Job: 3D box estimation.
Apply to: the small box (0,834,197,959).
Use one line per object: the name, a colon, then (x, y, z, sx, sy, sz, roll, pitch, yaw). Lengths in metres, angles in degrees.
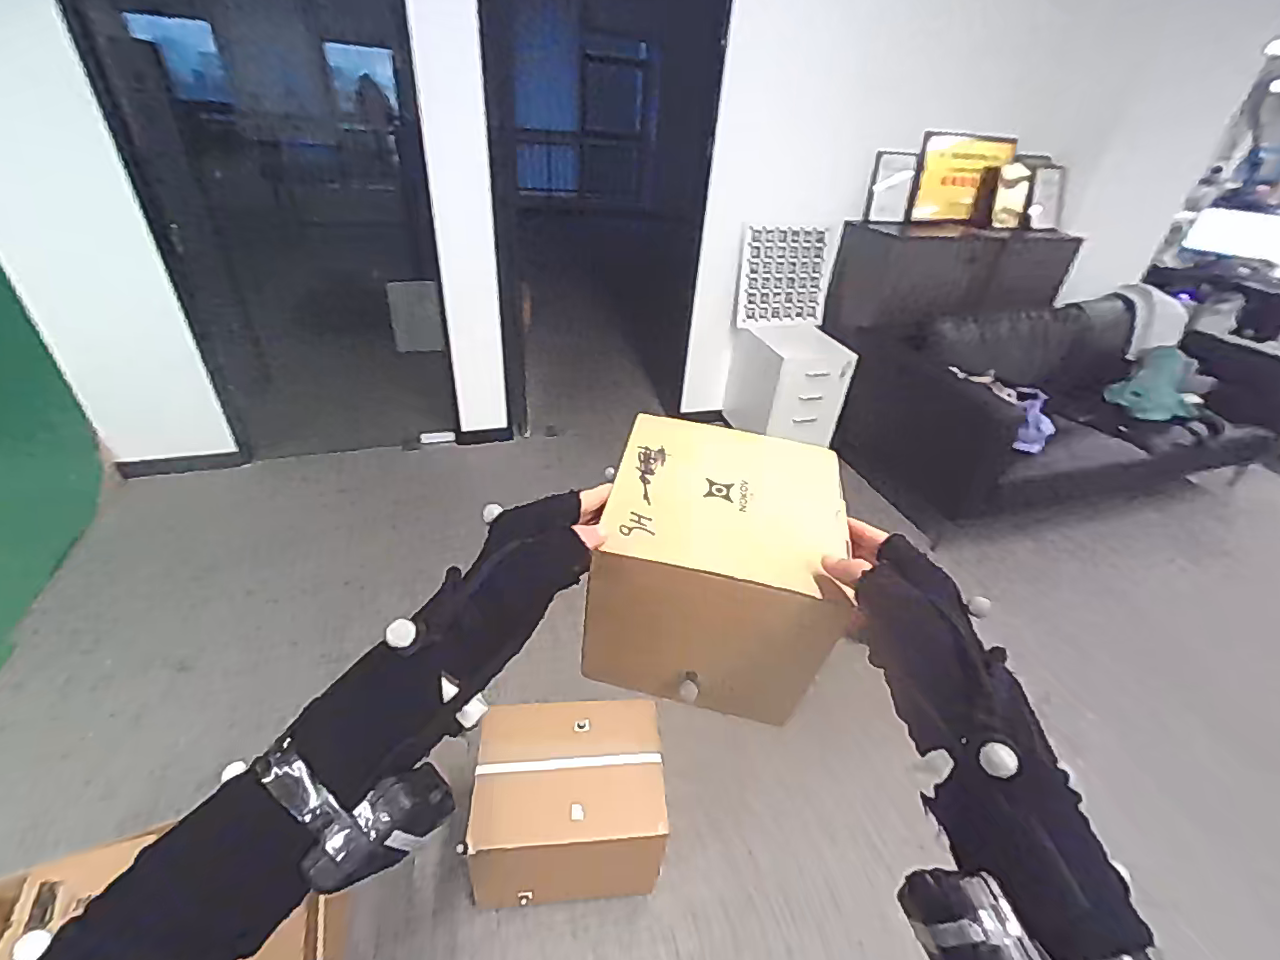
small box: (-0.913, 0.758, 0.927, 0.179, 0.176, 0.168, -7, 37, -20)

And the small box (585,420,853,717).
small box: (0.060, 0.077, 0.464, 0.179, 0.176, 0.168, 13, 40, 5)
